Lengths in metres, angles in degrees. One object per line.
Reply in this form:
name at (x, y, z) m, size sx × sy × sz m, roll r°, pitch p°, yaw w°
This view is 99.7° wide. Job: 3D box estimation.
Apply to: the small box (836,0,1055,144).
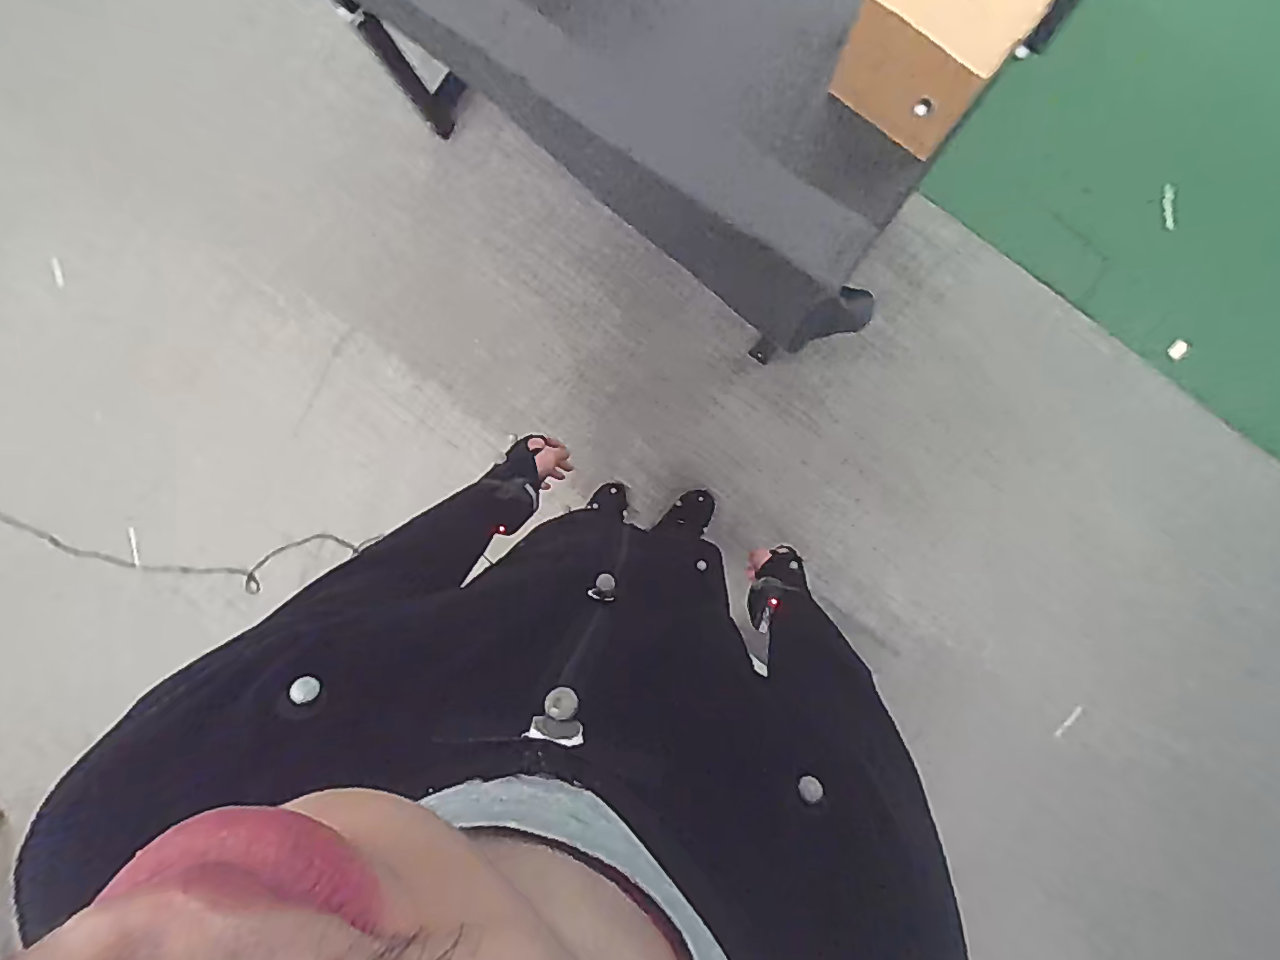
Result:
small box at (0.384, -0.572, 0.685) m, size 0.179 × 0.176 × 0.168 m, roll 39°, pitch 94°, yaw 4°
